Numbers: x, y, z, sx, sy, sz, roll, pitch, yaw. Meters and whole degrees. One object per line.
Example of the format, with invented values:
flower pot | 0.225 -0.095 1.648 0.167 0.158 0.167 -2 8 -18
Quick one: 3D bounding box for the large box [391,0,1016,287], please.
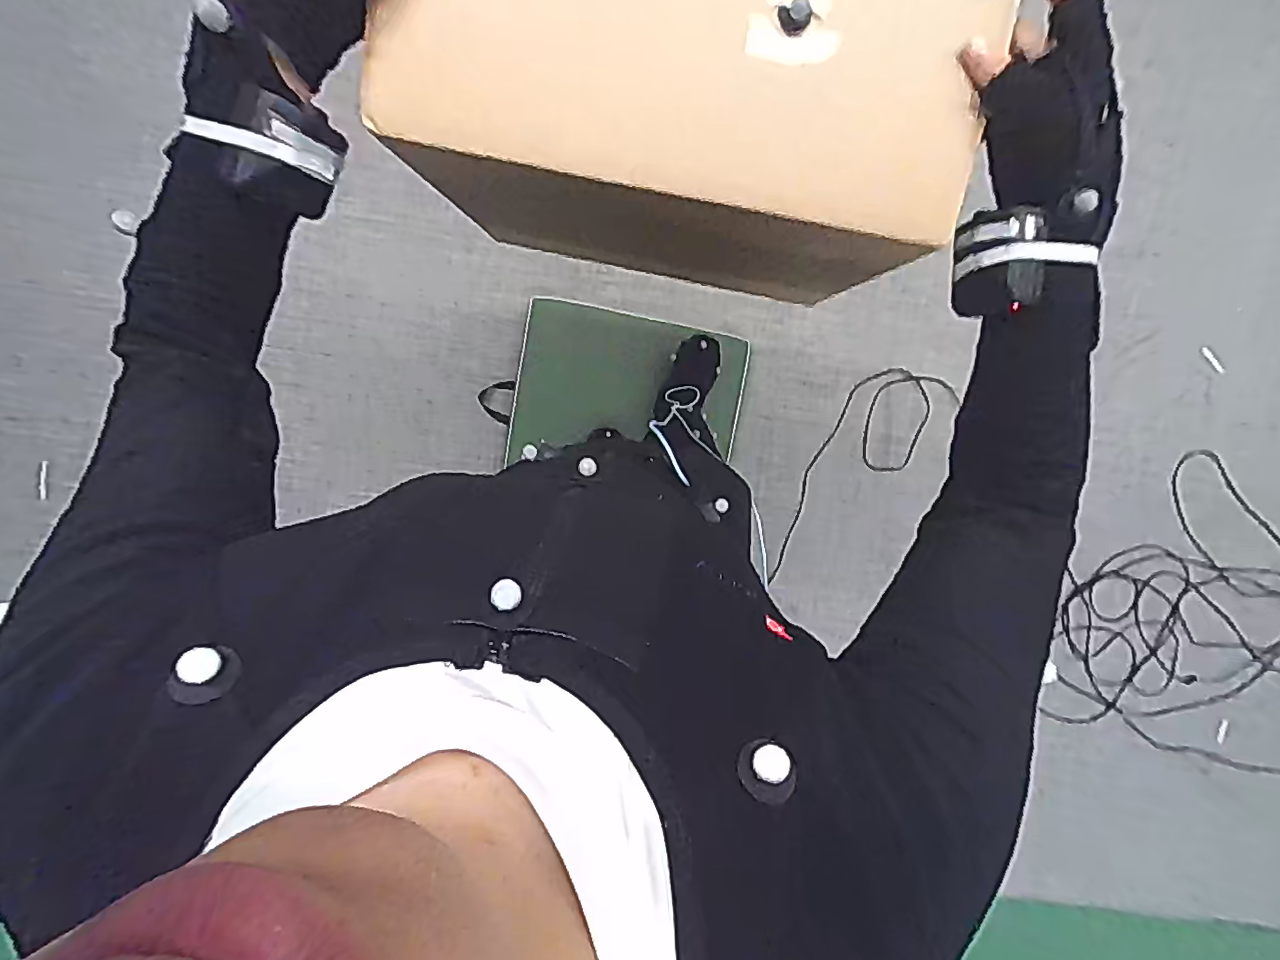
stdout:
large box | 0.050 -0.387 0.487 0.408 0.320 0.320 10 102 -2
